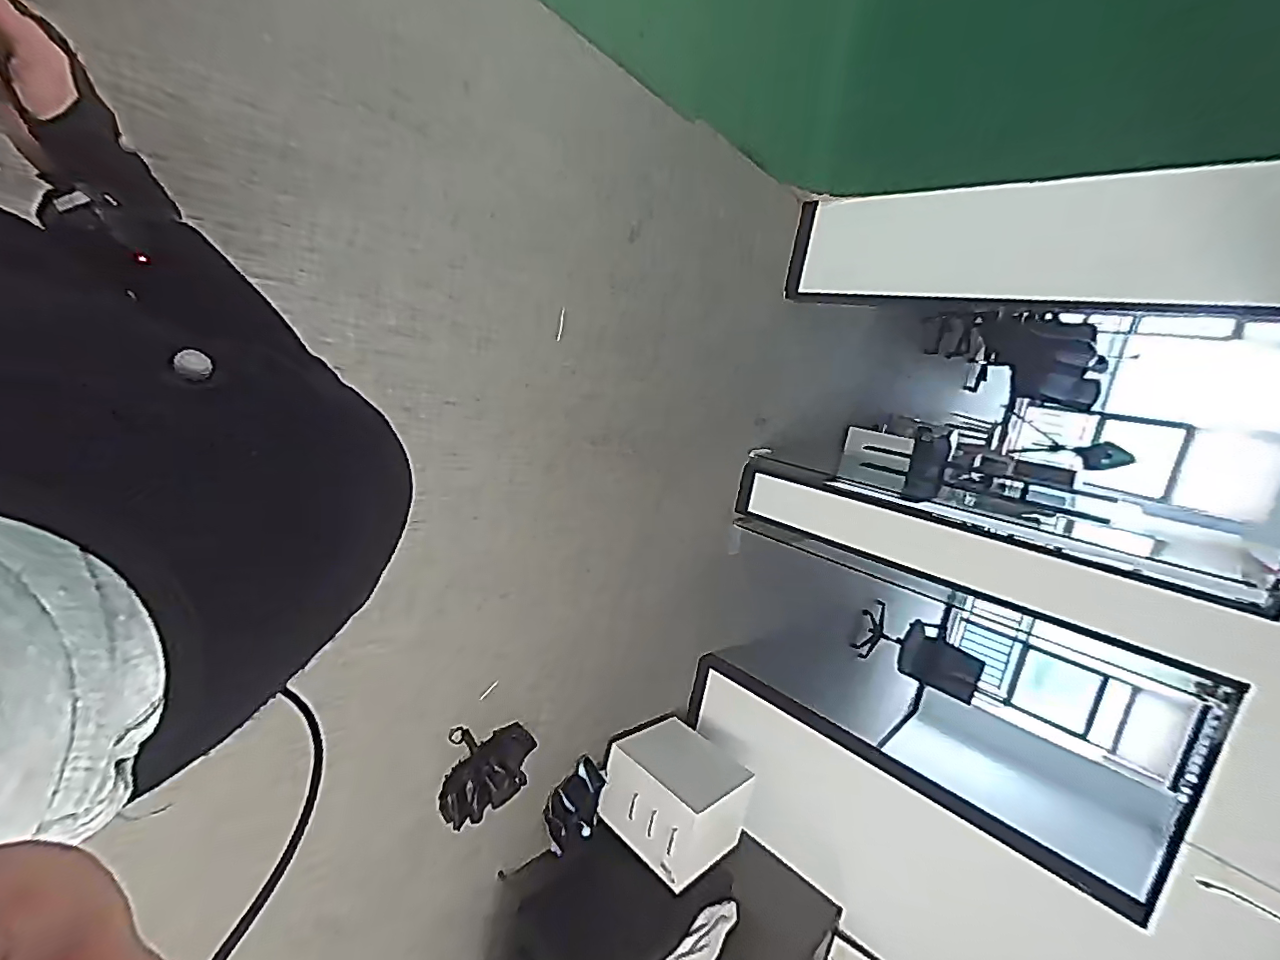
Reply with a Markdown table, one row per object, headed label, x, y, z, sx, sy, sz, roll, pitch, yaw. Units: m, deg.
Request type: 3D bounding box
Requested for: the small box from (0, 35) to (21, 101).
| label | x | y | z | sx | sy | sz | roll | pitch | yaw |
| --- | --- | --- | --- | --- | --- | --- | --- | --- | --- |
| small box | -0.488 | -0.315 | 0.277 | 0.179 | 0.176 | 0.168 | -21 | 117 | -36 |
